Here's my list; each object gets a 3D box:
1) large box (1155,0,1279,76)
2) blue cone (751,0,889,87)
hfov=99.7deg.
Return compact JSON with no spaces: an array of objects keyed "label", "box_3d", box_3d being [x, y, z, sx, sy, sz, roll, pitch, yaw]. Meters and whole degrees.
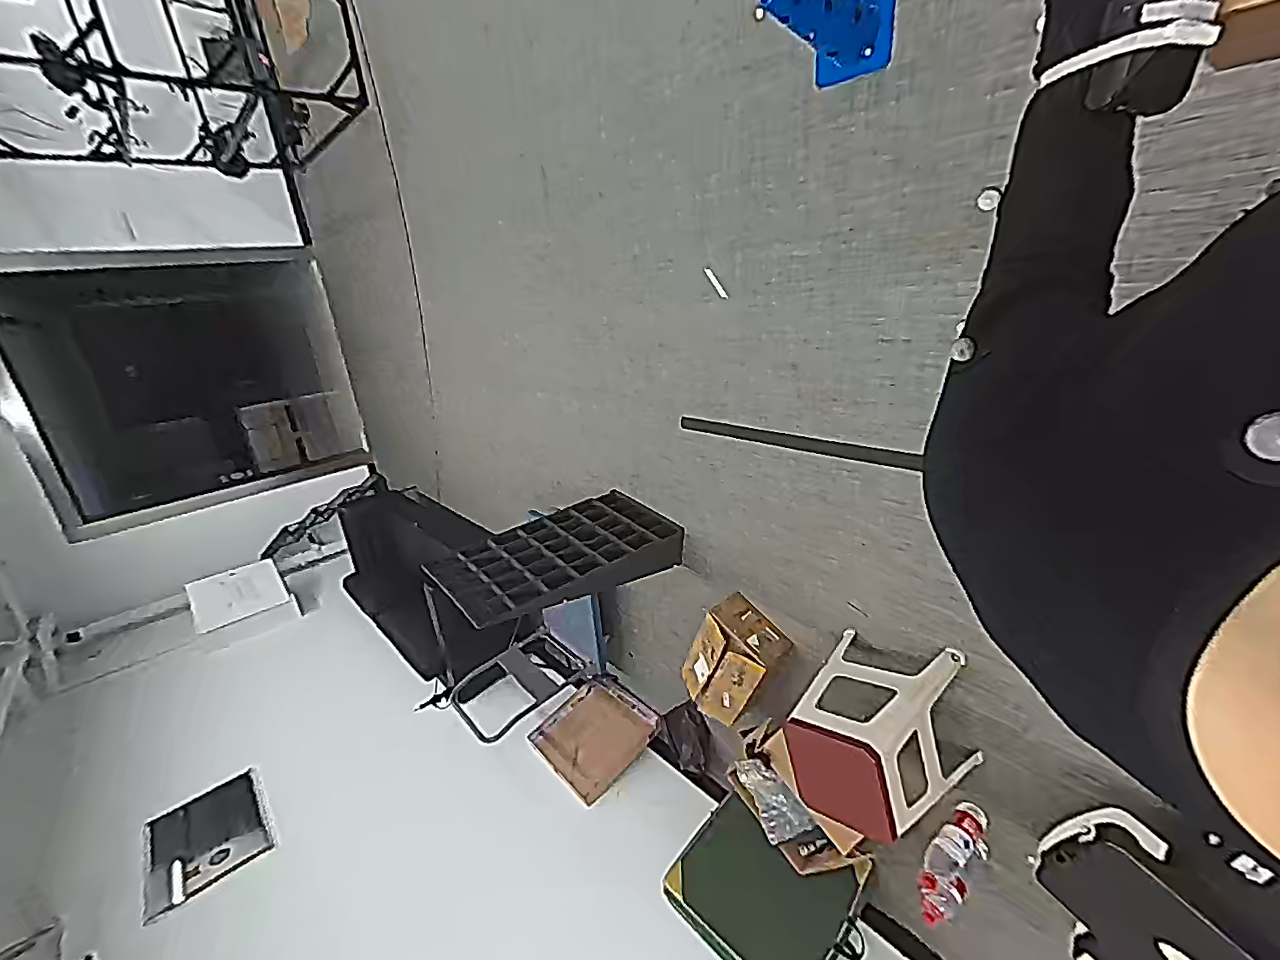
[{"label":"large box","box_3d":[0.558,-0.444,0.246,0.408,0.320,0.320,18,124,46]},{"label":"blue cone","box_3d":[0.395,-1.053,1.233,0.192,0.380,0.193,22,123,45]}]
